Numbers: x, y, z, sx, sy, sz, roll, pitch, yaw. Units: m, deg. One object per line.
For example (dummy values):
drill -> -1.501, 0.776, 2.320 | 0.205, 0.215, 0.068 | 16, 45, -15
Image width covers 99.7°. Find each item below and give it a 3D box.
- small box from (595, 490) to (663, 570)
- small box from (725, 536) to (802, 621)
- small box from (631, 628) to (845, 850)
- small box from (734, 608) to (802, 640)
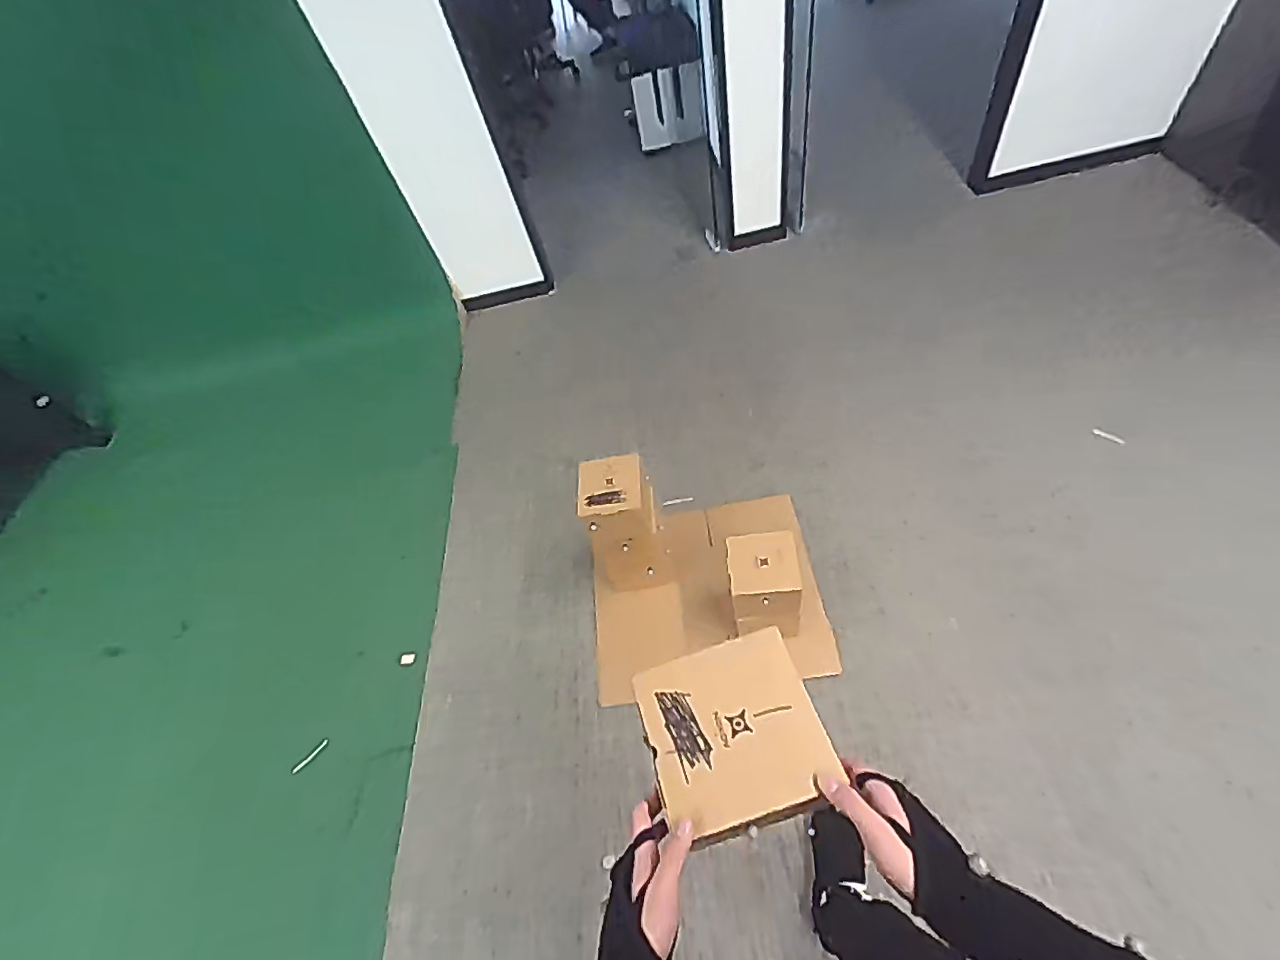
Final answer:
small box -> -0.029, 0.150, 1.590 | 0.179, 0.176, 0.168 | -9, 54, 7
small box -> 0.324, 0.265, 1.426 | 0.179, 0.176, 0.168 | -6, 54, 9
small box -> 0.104, 0.297, 0.612 | 0.179, 0.176, 0.168 | -18, 52, -2
small box -> 0.357, 0.361, 1.555 | 0.179, 0.176, 0.168 | -8, 53, 8
